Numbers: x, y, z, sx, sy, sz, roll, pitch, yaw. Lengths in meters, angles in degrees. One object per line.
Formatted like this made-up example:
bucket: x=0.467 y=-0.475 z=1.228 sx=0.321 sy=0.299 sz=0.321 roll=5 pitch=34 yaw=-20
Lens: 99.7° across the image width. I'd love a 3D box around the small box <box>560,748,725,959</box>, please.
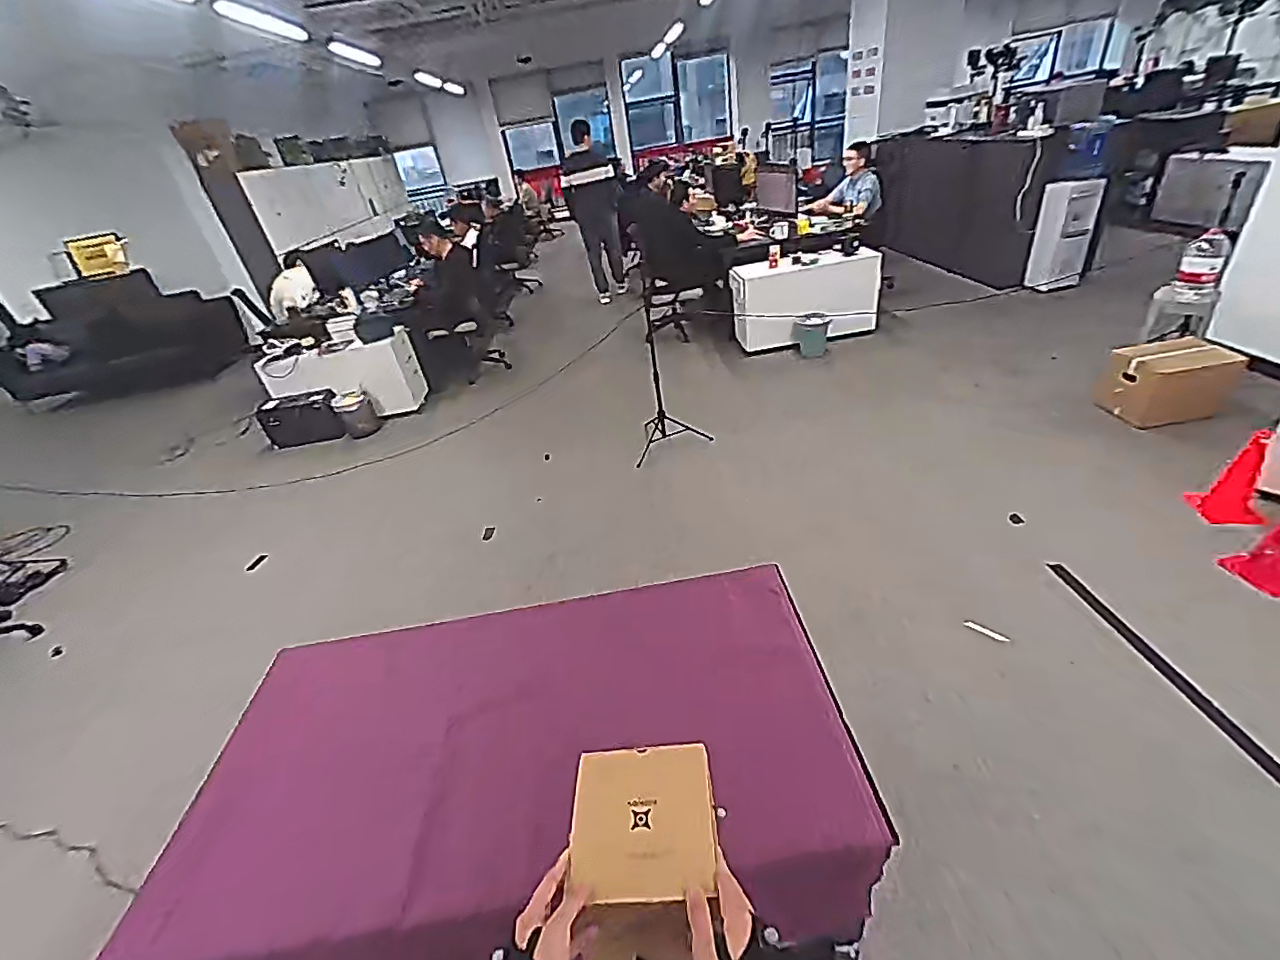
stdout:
small box: x=0.010 y=0.462 z=0.661 sx=0.168 sy=0.176 sz=0.179 roll=-6 pitch=27 yaw=5
